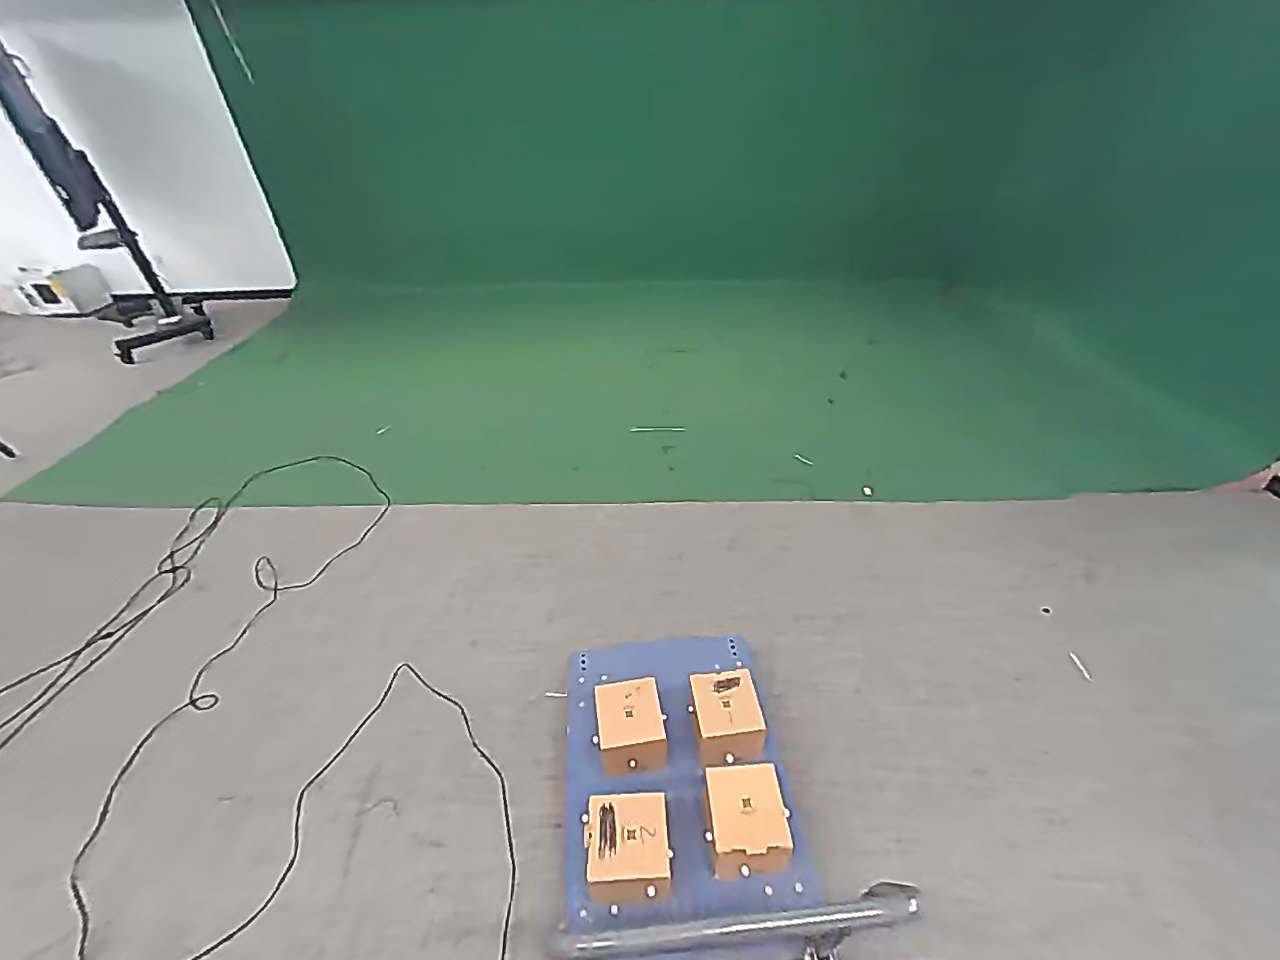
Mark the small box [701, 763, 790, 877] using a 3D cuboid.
[{"bbox_3d":[0.237,0.793,1.263,0.168,0.176,0.179,-3,37,-1],"label":"small box"}]

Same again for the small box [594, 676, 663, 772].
[{"bbox_3d":[-0.031,0.656,1.442,0.168,0.176,0.179,-6,38,-6],"label":"small box"}]

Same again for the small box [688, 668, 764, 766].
[{"bbox_3d":[0.223,0.637,1.456,0.168,0.176,0.179,-6,39,-4],"label":"small box"}]
